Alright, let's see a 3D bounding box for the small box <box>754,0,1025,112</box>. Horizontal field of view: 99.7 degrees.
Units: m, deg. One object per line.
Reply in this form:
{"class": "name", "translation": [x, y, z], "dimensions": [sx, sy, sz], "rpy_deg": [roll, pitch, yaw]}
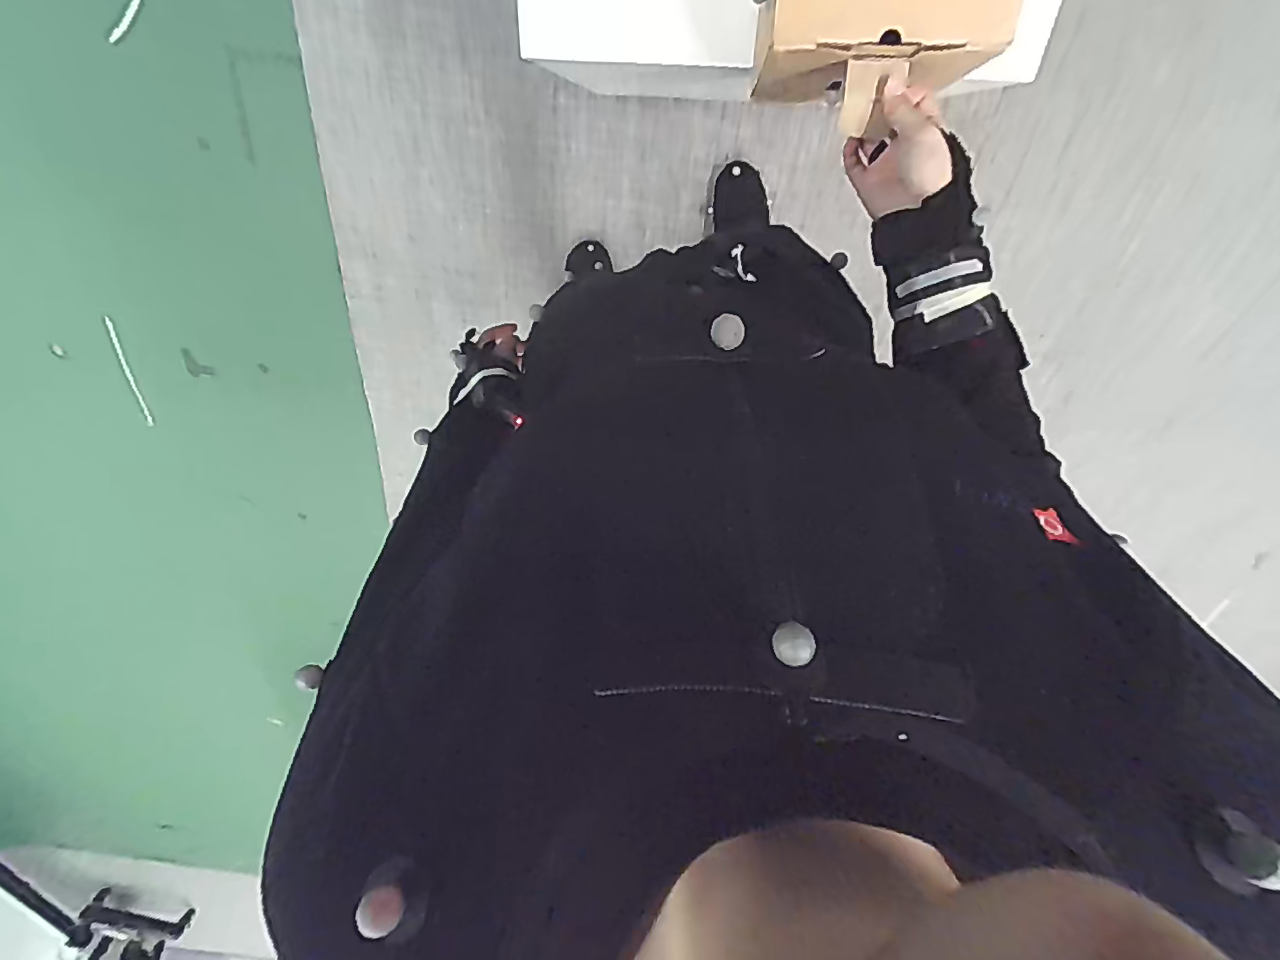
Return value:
{"class": "small box", "translation": [0.185, -0.409, 0.418], "dimensions": [0.168, 0.176, 0.179], "rpy_deg": [4, 115, 4]}
